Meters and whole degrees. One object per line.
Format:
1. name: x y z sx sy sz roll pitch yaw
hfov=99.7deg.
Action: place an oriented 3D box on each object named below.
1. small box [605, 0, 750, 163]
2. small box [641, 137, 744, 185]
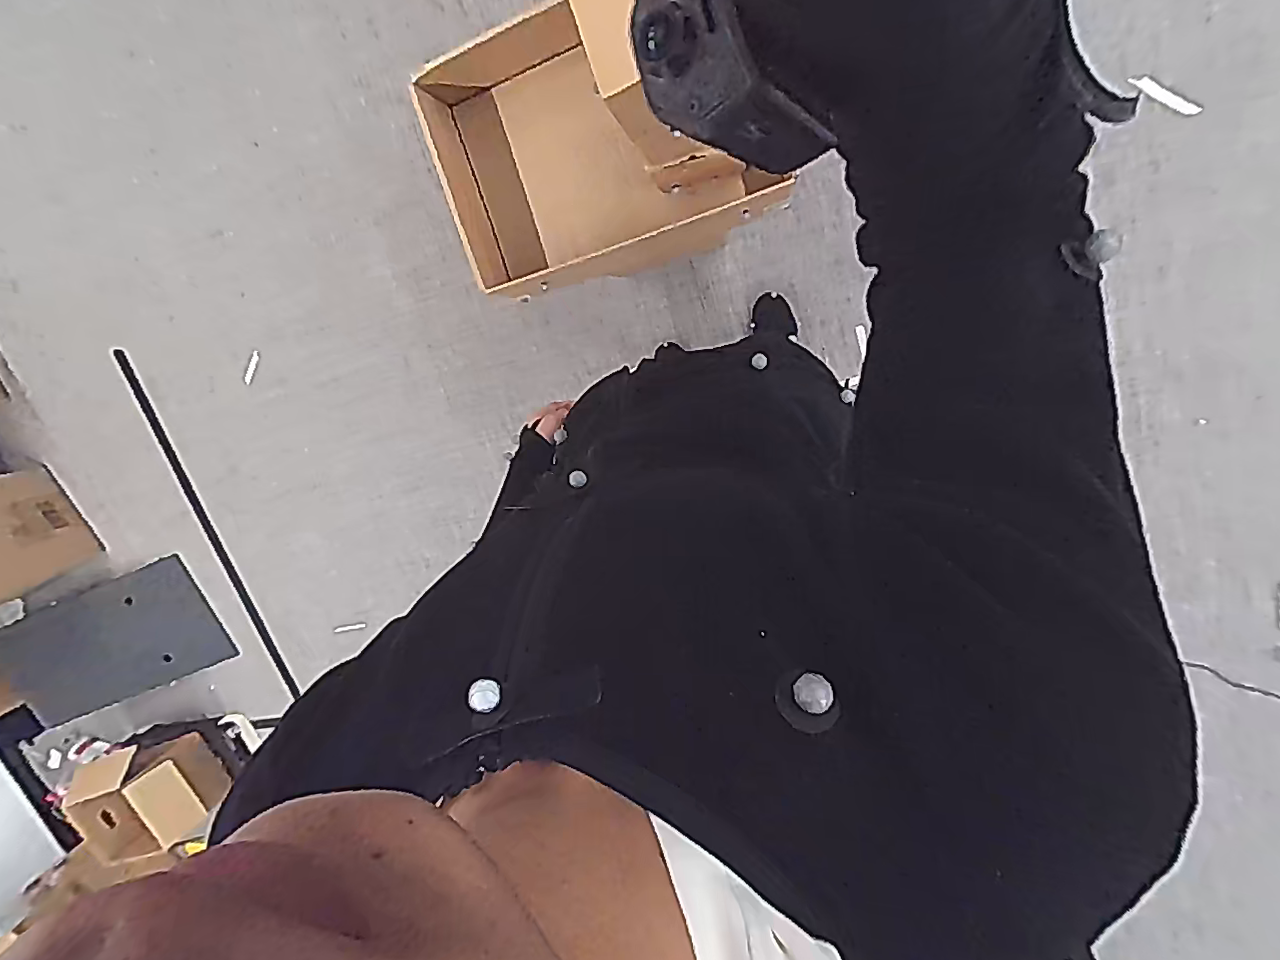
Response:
1. small box: 0.062 -0.593 0.778 0.168 0.176 0.179 -10 104 15
2. small box: 0.089 -0.631 0.936 0.168 0.176 0.179 -7 105 13
